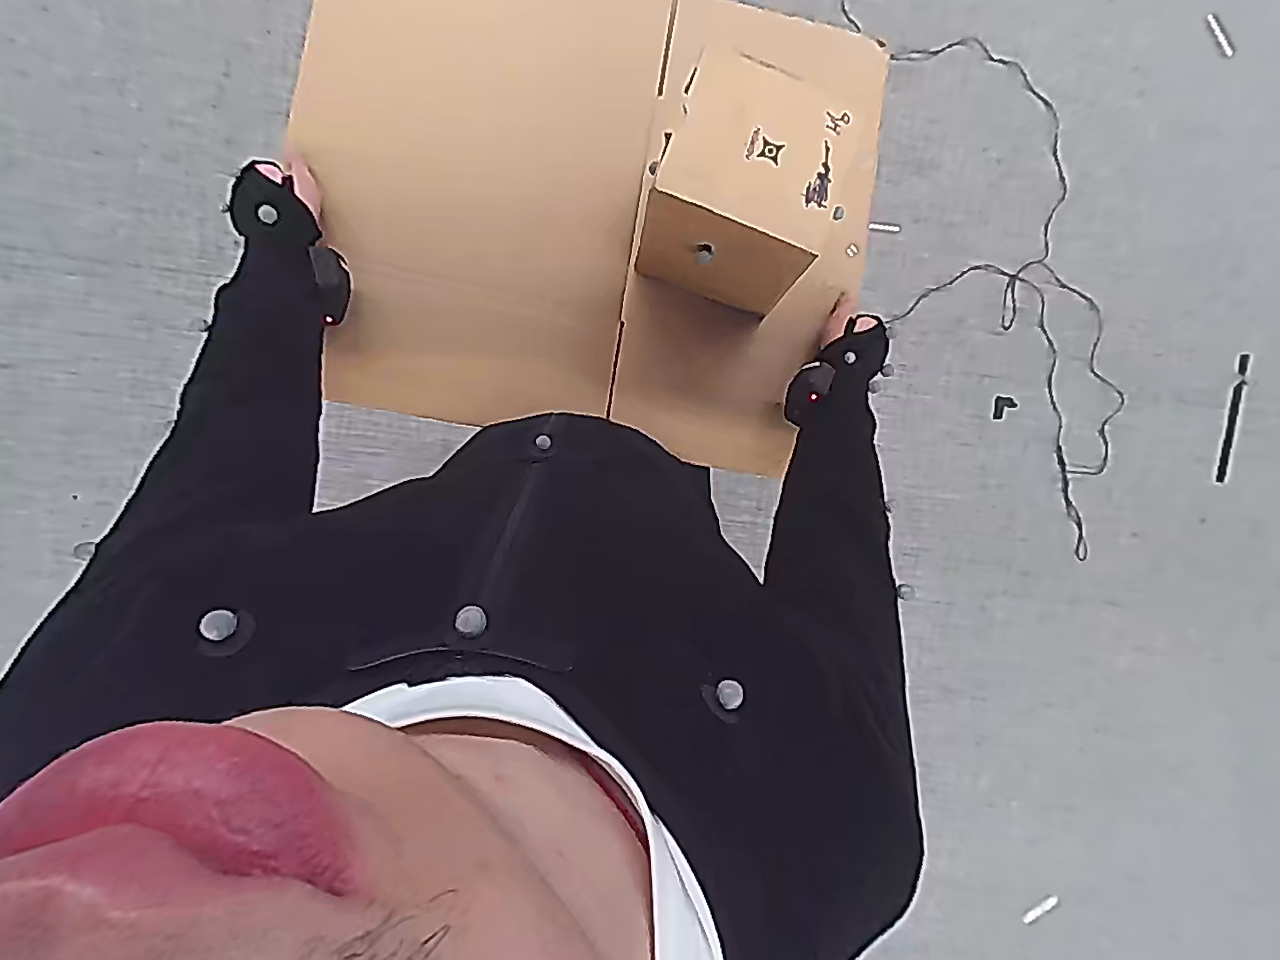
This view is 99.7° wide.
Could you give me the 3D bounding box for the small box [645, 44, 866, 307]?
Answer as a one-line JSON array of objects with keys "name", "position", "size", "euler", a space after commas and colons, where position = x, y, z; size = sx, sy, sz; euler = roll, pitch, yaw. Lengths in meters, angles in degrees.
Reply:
[{"name": "small box", "position": [0.113, -0.320, 0.607], "size": [0.179, 0.176, 0.168], "euler": [20, 85, -3]}]
